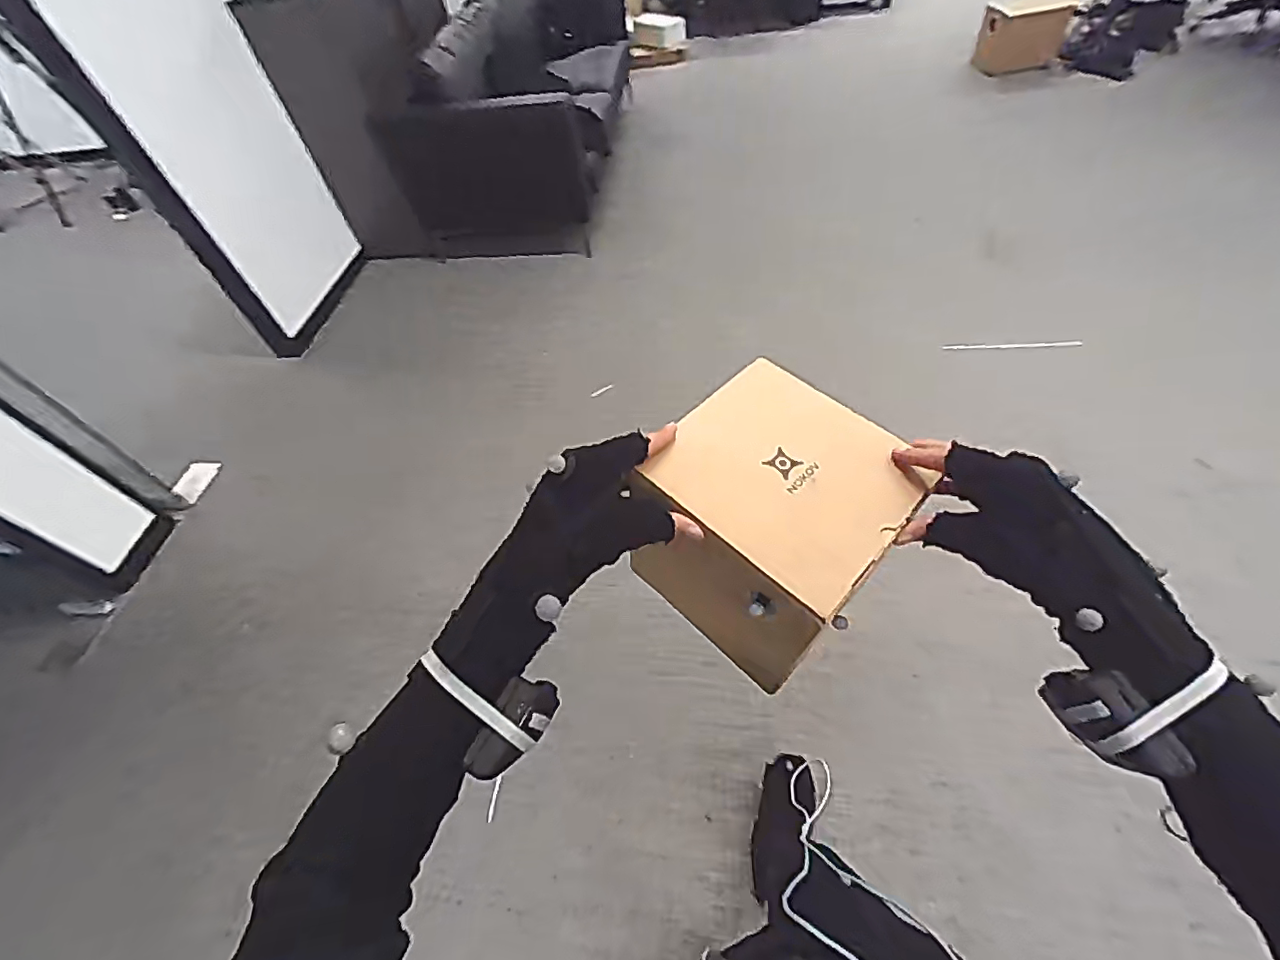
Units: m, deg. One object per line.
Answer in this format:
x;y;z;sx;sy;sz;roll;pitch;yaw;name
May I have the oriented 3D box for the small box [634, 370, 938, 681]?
0.108;0.043;0.474;0.179;0.176;0.168;39;62;23;small box
